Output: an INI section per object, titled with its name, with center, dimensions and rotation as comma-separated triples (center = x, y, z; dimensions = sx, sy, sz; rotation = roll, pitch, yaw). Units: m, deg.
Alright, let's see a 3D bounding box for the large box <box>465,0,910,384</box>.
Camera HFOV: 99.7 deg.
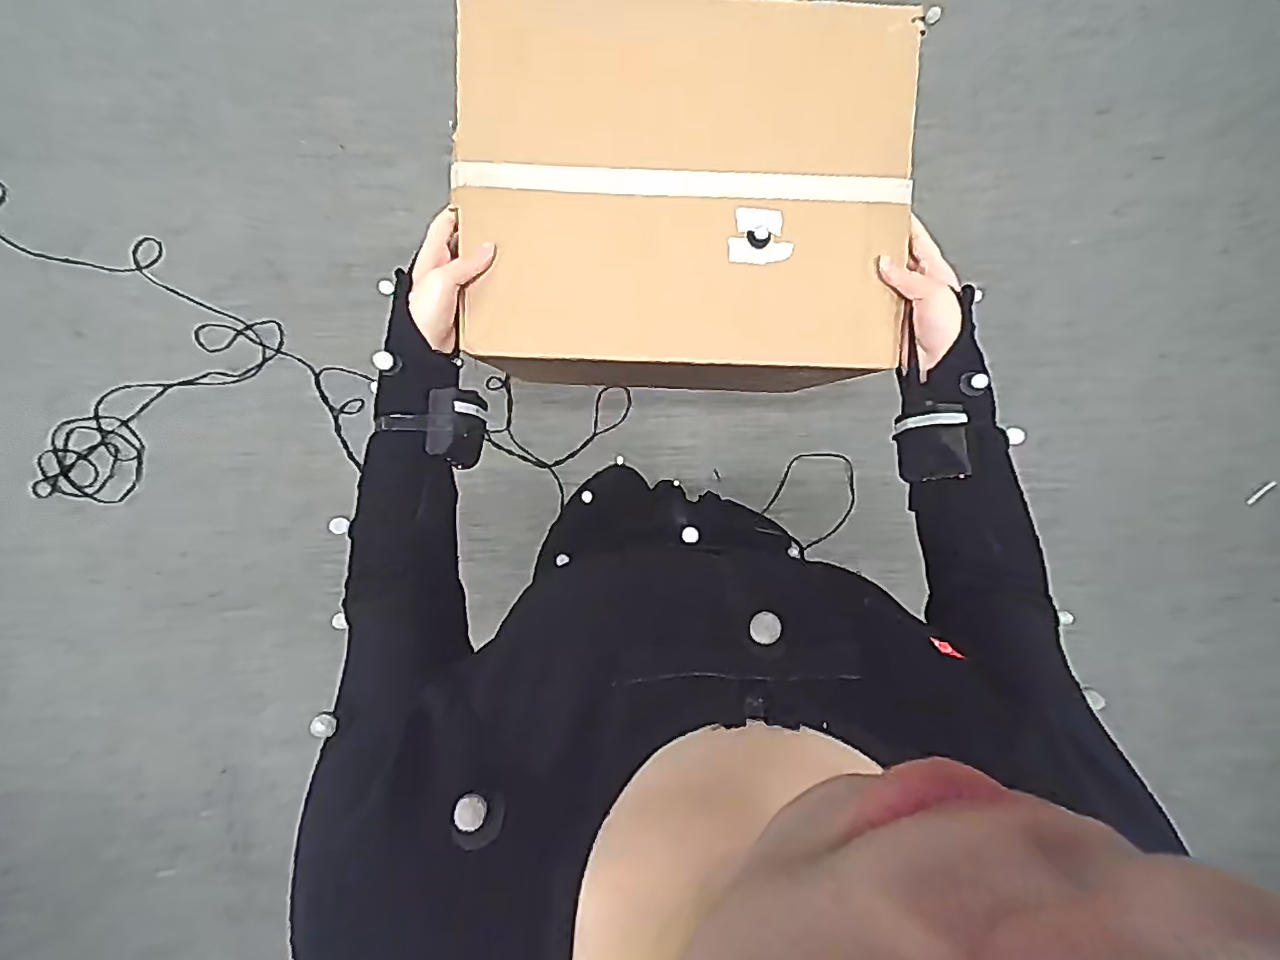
[large box]
center = 0.036, -0.282, 0.637
dimensions = 0.408, 0.320, 0.320
rotation = 1, 96, -3
